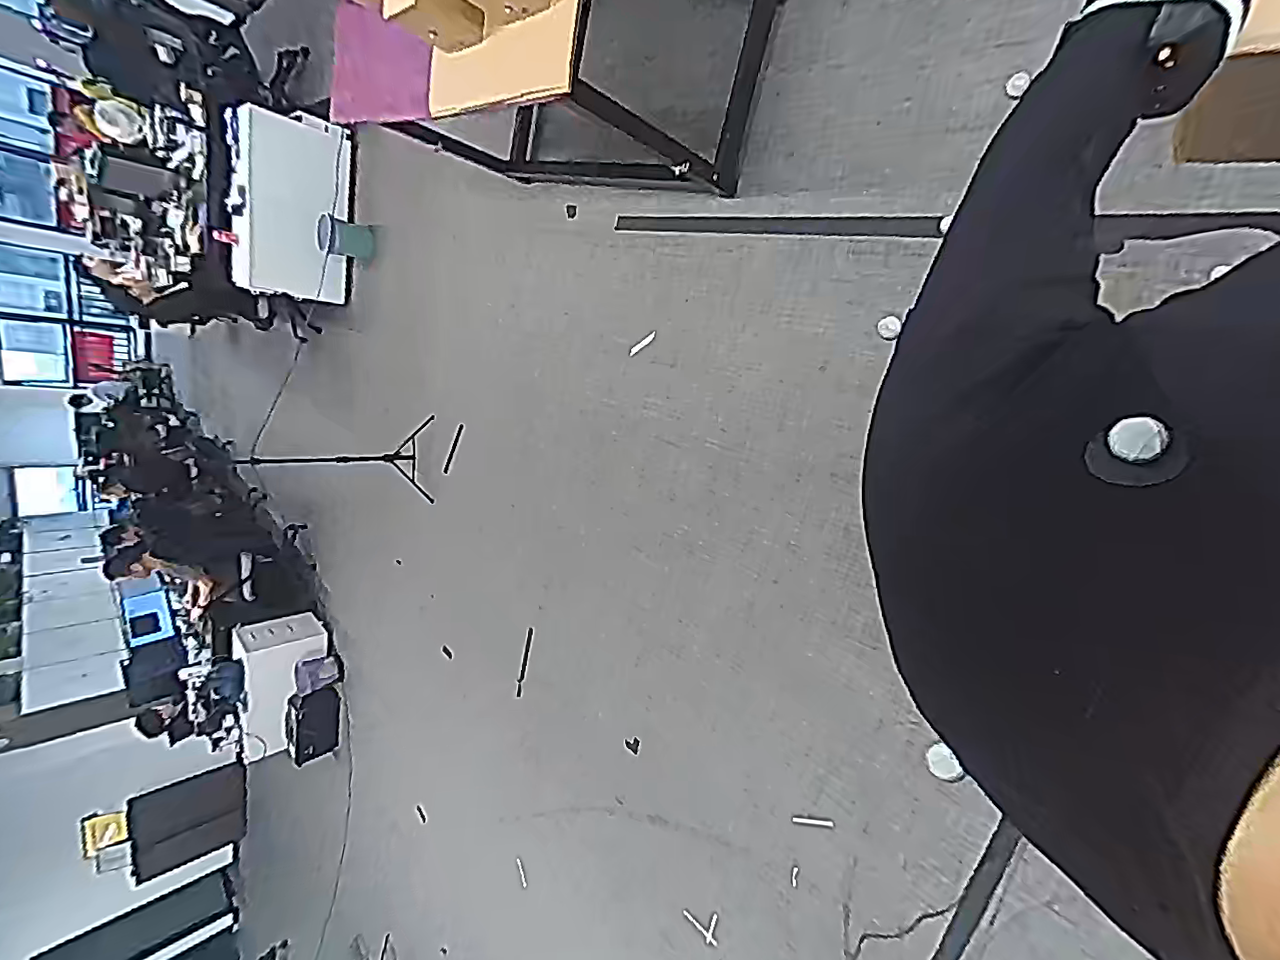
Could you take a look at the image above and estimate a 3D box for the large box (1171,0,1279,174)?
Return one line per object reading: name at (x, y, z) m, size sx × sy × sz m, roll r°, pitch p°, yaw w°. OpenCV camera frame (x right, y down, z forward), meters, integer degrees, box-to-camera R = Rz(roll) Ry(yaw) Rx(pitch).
large box at (0.662, -0.407, 0.339) m, size 0.408 × 0.320 × 0.320 m, roll 25°, pitch 116°, yaw 38°
